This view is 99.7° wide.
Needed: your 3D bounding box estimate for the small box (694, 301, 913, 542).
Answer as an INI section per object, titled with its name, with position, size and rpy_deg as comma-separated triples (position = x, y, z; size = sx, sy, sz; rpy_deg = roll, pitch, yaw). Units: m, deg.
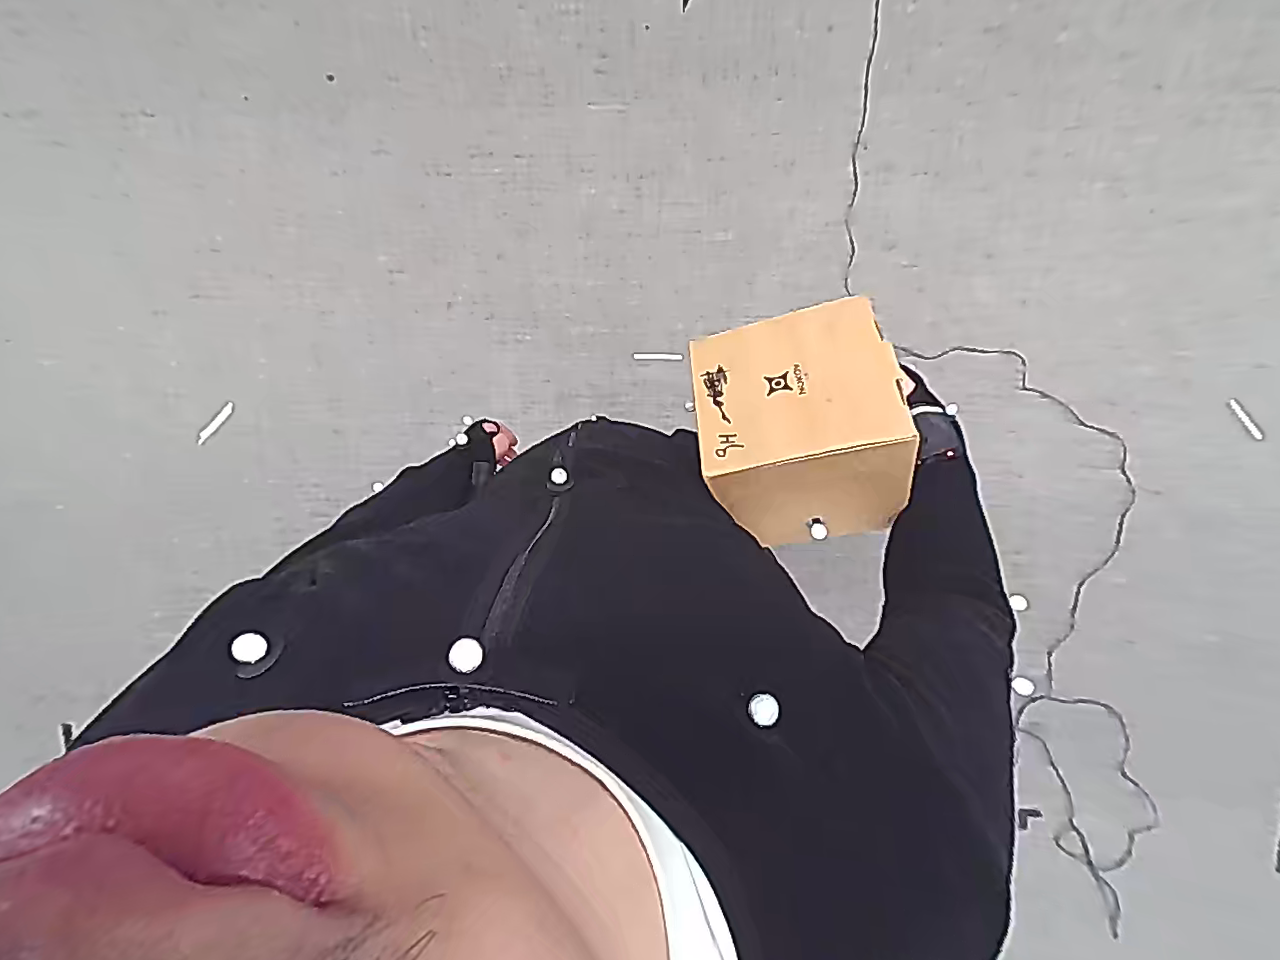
[small box]
position = 0.164, -0.050, 0.568
size = 0.179, 0.176, 0.168
rpy_deg = -11, 56, 15
